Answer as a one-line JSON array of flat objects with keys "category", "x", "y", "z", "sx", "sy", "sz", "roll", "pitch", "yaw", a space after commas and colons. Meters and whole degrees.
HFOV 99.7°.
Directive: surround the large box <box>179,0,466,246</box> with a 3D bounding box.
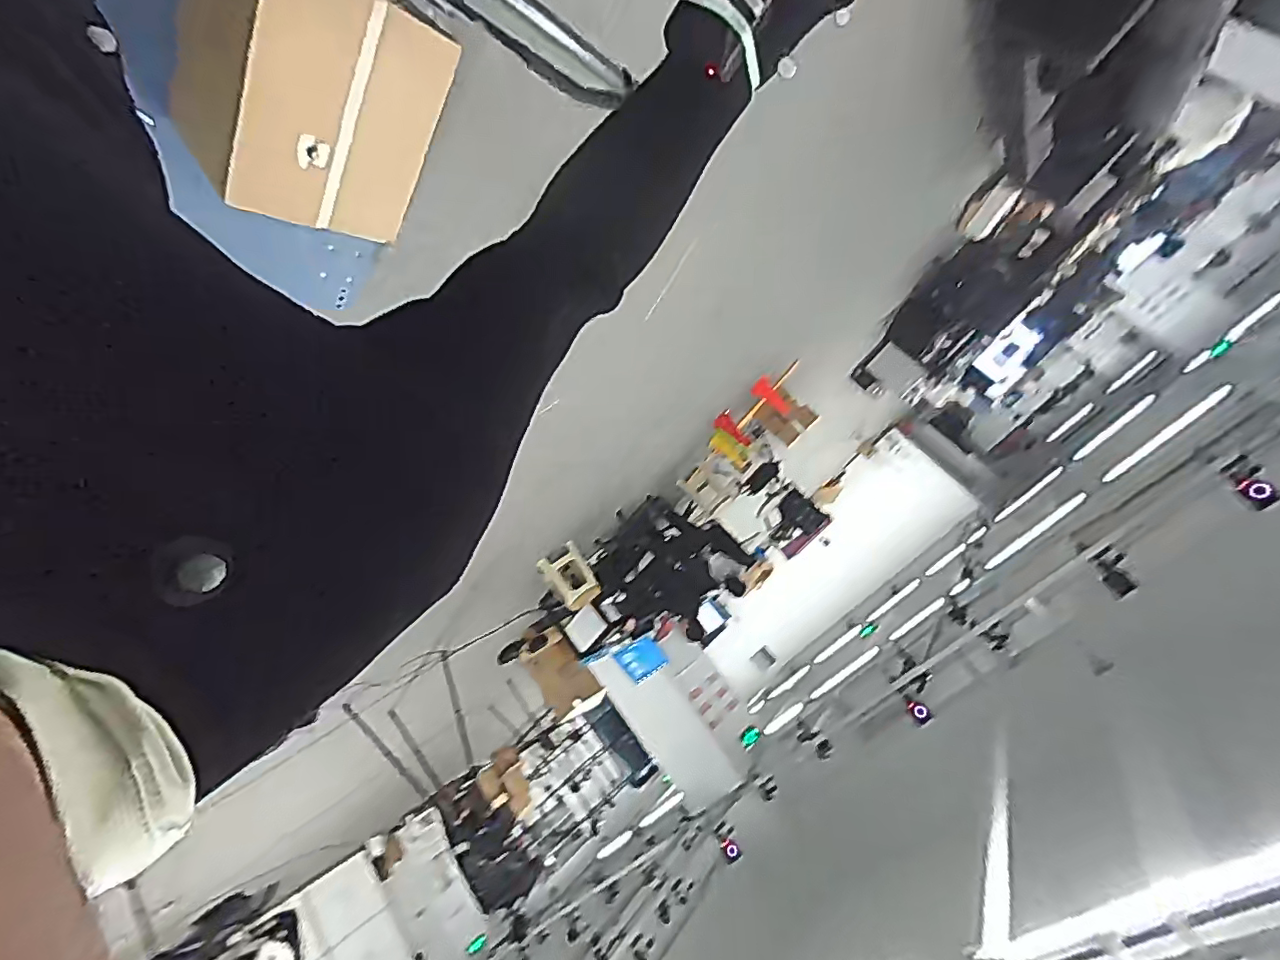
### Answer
[{"category": "large box", "x": -0.598, "y": -0.733, "z": 1.008, "sx": 0.320, "sy": 0.320, "sz": 0.408, "roll": -10, "pitch": 145, "yaw": -54}]
